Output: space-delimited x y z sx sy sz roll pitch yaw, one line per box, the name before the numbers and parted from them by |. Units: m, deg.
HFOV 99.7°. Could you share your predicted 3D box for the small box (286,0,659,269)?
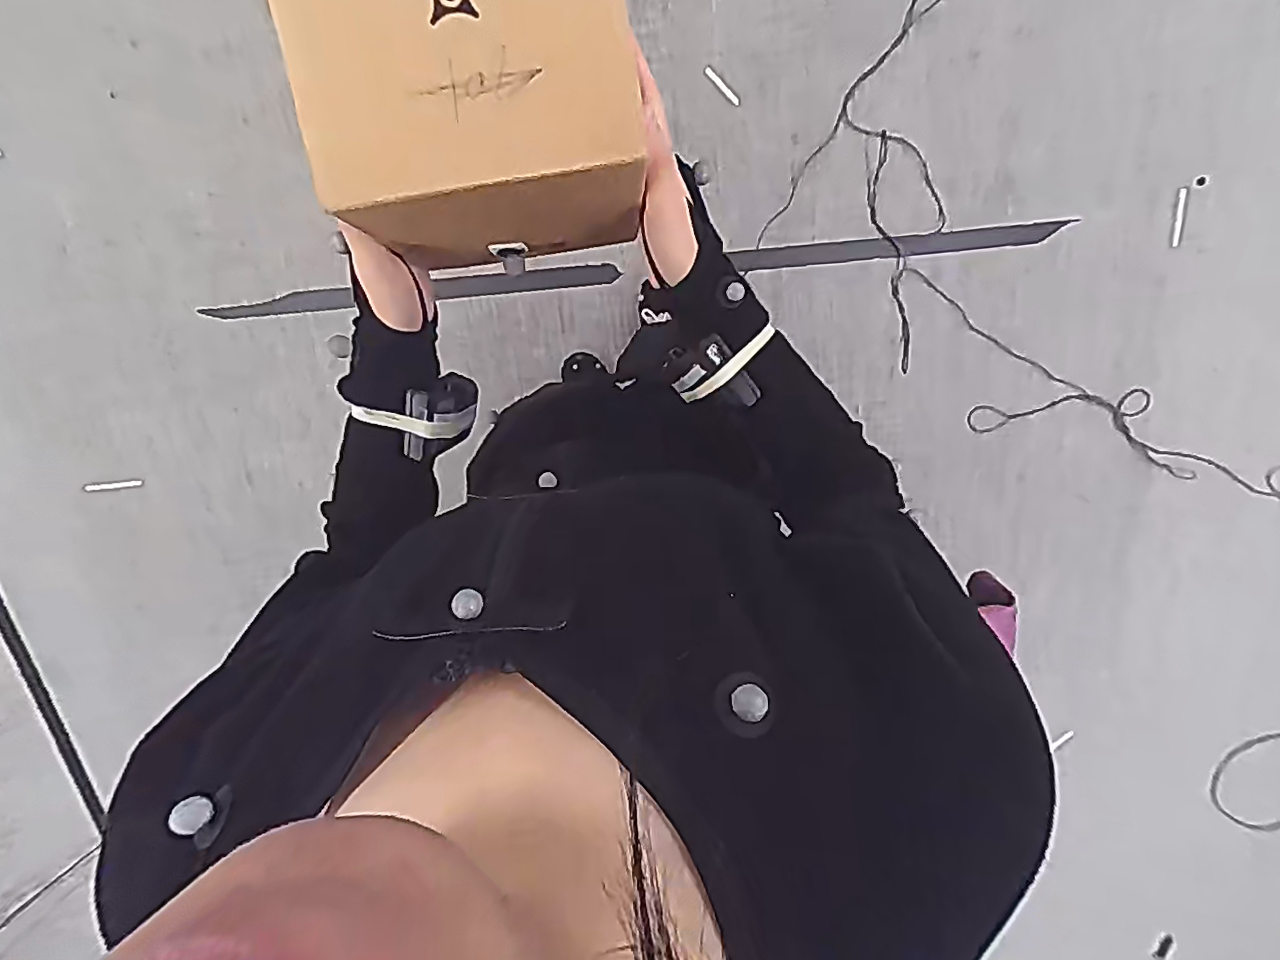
small box | -0.088 -0.247 0.333 0.168 0.176 0.179 -10 102 -1
